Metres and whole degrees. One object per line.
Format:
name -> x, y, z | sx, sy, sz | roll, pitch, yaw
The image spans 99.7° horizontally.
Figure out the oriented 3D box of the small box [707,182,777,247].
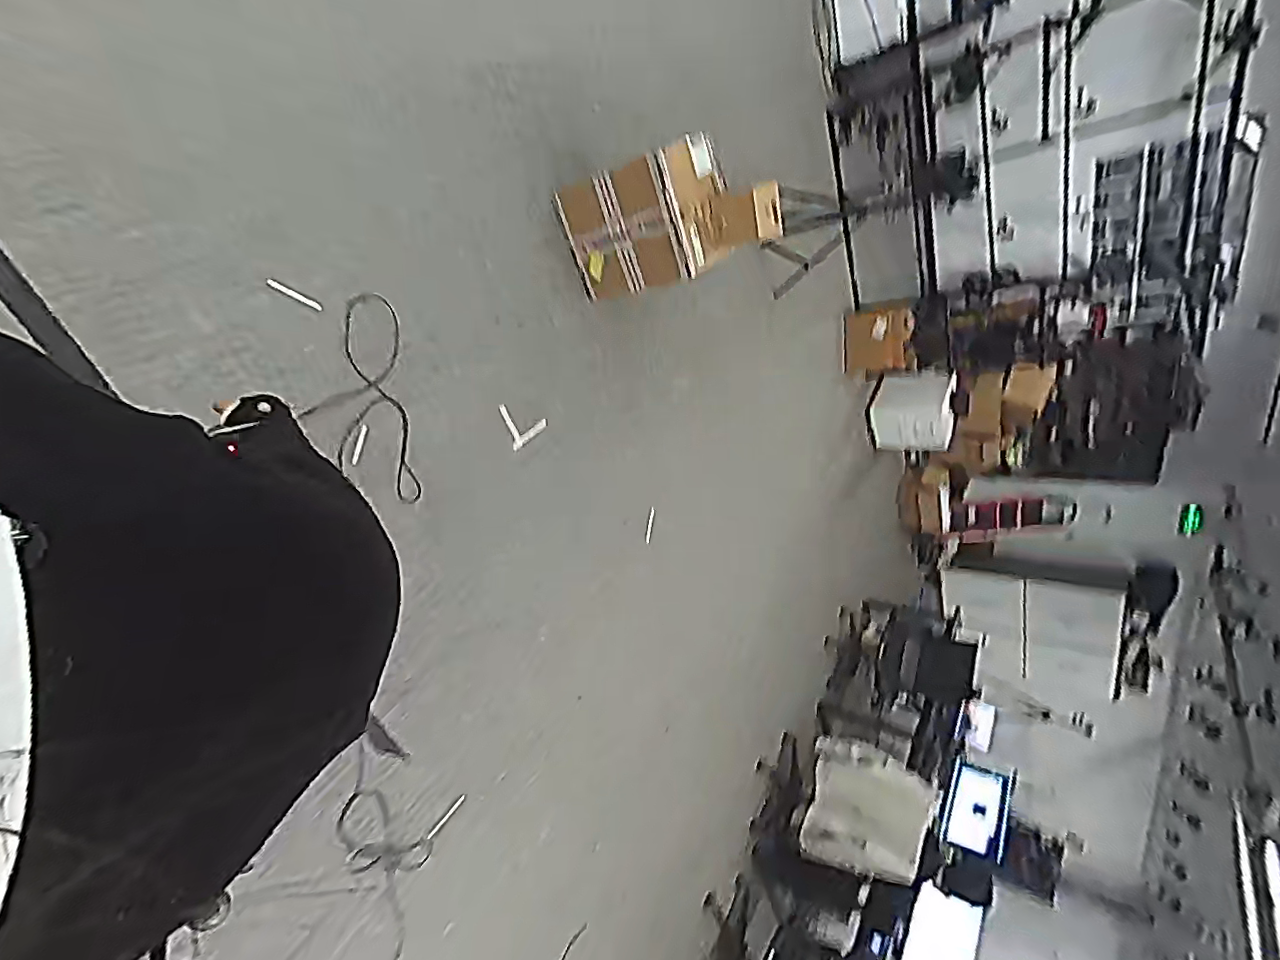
small box -> 0.354, -0.914, 1.866 | 0.179, 0.176, 0.168 | -36, 122, -40
